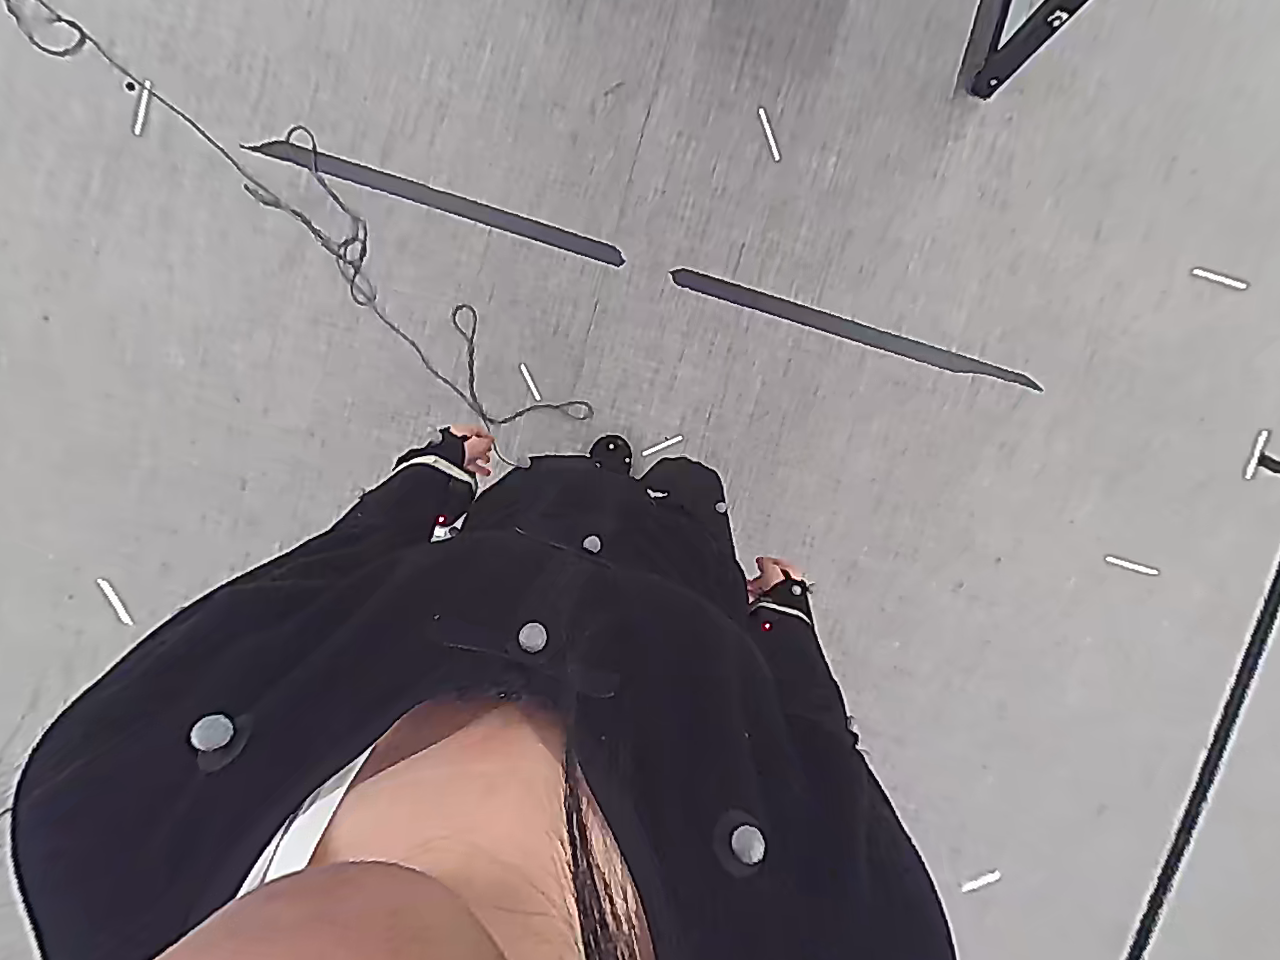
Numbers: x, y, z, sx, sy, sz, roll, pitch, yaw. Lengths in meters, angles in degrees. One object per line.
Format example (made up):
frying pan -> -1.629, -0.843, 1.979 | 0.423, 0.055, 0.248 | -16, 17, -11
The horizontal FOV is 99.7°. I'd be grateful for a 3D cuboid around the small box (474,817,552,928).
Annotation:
small box -> -0.339, 1.060, 1.475 | 0.168, 0.176, 0.179 | 9, 94, -1
